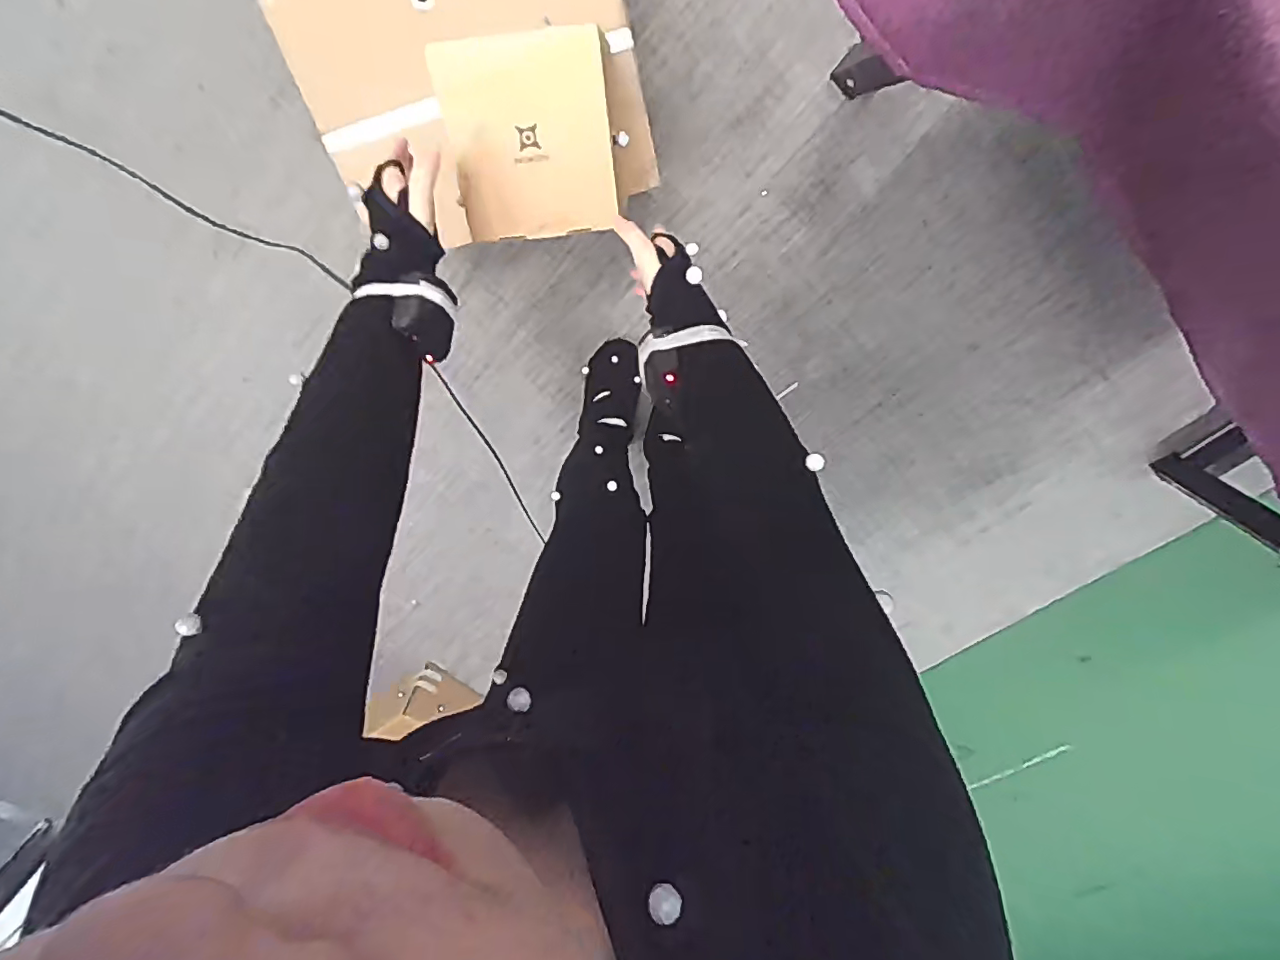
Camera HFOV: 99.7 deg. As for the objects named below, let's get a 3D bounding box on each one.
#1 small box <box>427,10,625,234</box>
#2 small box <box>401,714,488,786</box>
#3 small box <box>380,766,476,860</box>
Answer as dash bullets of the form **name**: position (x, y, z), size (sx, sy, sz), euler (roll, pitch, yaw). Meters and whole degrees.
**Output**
- **small box**: position (-0.107, -0.390, 0.599), size (0.168, 0.176, 0.179), euler (-4, 127, 4)
- **small box**: position (-0.615, 0.884, 1.729), size (0.168, 0.176, 0.179), euler (-36, 115, 21)
- **small box**: position (-0.616, 0.972, 1.590), size (0.168, 0.176, 0.179), euler (-34, 117, 21)
